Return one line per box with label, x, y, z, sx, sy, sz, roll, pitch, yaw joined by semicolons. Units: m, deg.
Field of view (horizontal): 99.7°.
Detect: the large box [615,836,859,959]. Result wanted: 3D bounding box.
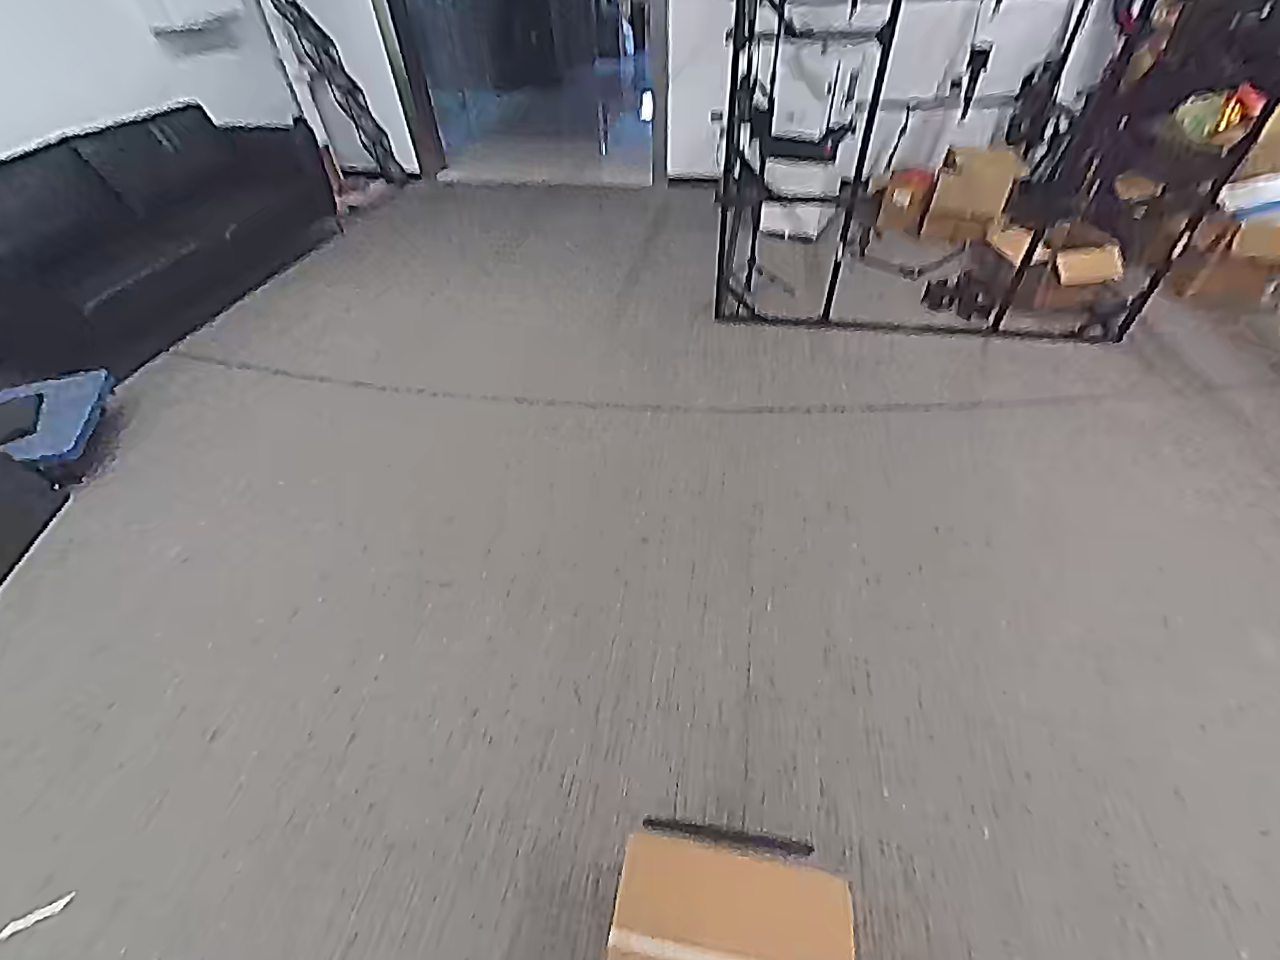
large box;0.161;0.906;0.992;0.408;0.320;0.320;7;45;9
